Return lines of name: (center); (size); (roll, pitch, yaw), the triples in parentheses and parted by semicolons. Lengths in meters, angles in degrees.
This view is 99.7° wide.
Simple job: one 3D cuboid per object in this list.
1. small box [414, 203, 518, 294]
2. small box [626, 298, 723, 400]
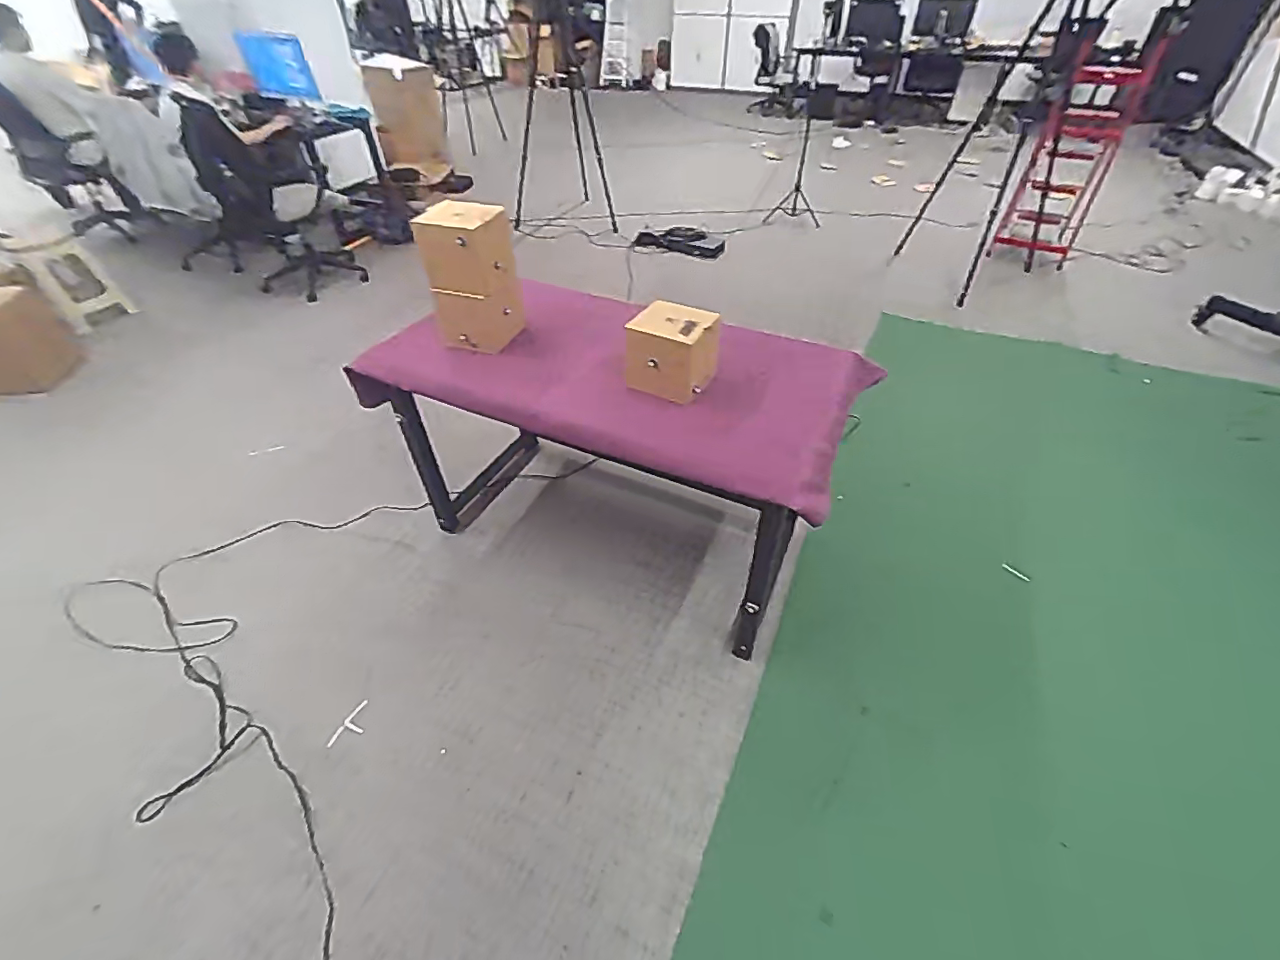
small box: (-0.438, -0.594, 1.390); (0.179, 0.176, 0.168); (12, 46, 13)
small box: (0.084, -0.318, 1.321); (0.179, 0.176, 0.168); (24, 47, 24)
